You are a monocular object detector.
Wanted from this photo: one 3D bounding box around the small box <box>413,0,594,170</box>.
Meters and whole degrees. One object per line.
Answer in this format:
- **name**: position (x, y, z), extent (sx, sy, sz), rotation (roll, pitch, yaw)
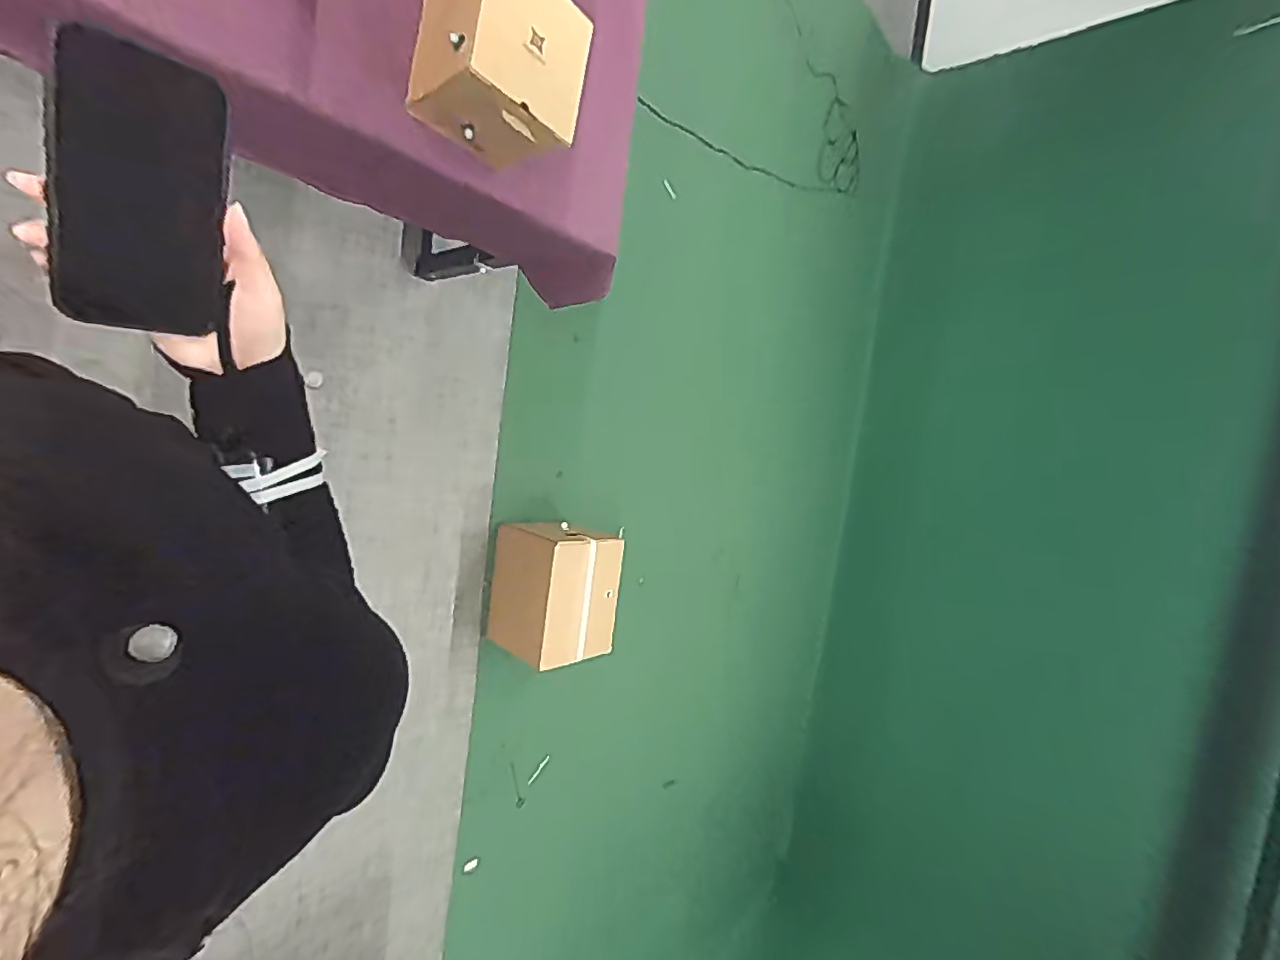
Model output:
- **small box**: position (-0.191, -0.570, 0.747), extent (0.168, 0.176, 0.179), rotation (9, 92, -49)
